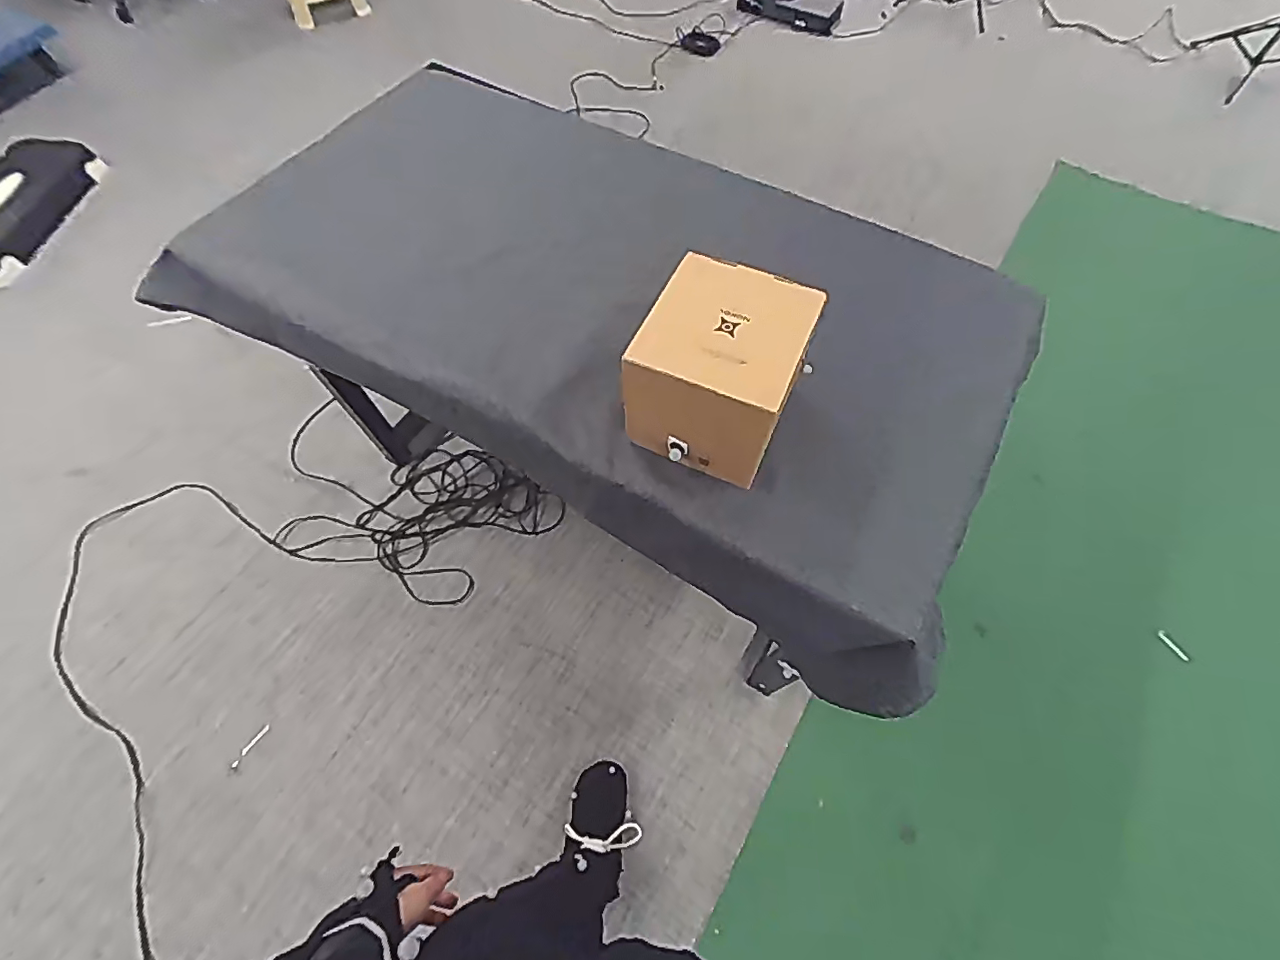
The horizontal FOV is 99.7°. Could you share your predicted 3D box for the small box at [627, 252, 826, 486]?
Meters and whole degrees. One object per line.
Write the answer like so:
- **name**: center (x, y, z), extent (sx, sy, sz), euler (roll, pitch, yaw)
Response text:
- **small box**: center (0.093, -0.123, 0.632), extent (0.168, 0.176, 0.179), euler (21, 65, 12)
